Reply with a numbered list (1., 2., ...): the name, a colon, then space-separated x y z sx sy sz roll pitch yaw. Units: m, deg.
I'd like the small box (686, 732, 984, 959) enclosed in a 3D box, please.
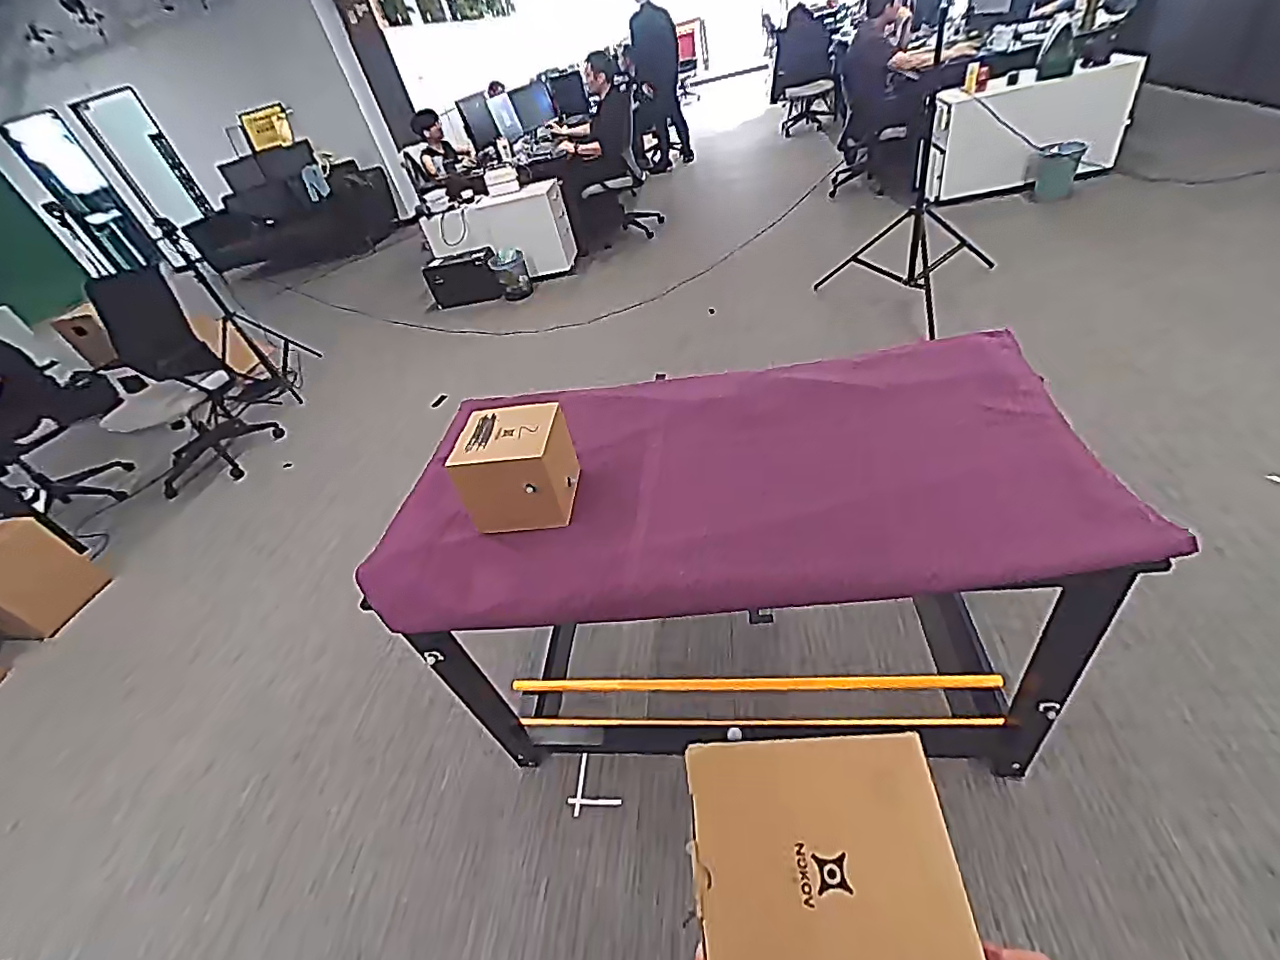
1. small box: 0.133 0.304 0.430 0.179 0.176 0.168 -7 57 5
